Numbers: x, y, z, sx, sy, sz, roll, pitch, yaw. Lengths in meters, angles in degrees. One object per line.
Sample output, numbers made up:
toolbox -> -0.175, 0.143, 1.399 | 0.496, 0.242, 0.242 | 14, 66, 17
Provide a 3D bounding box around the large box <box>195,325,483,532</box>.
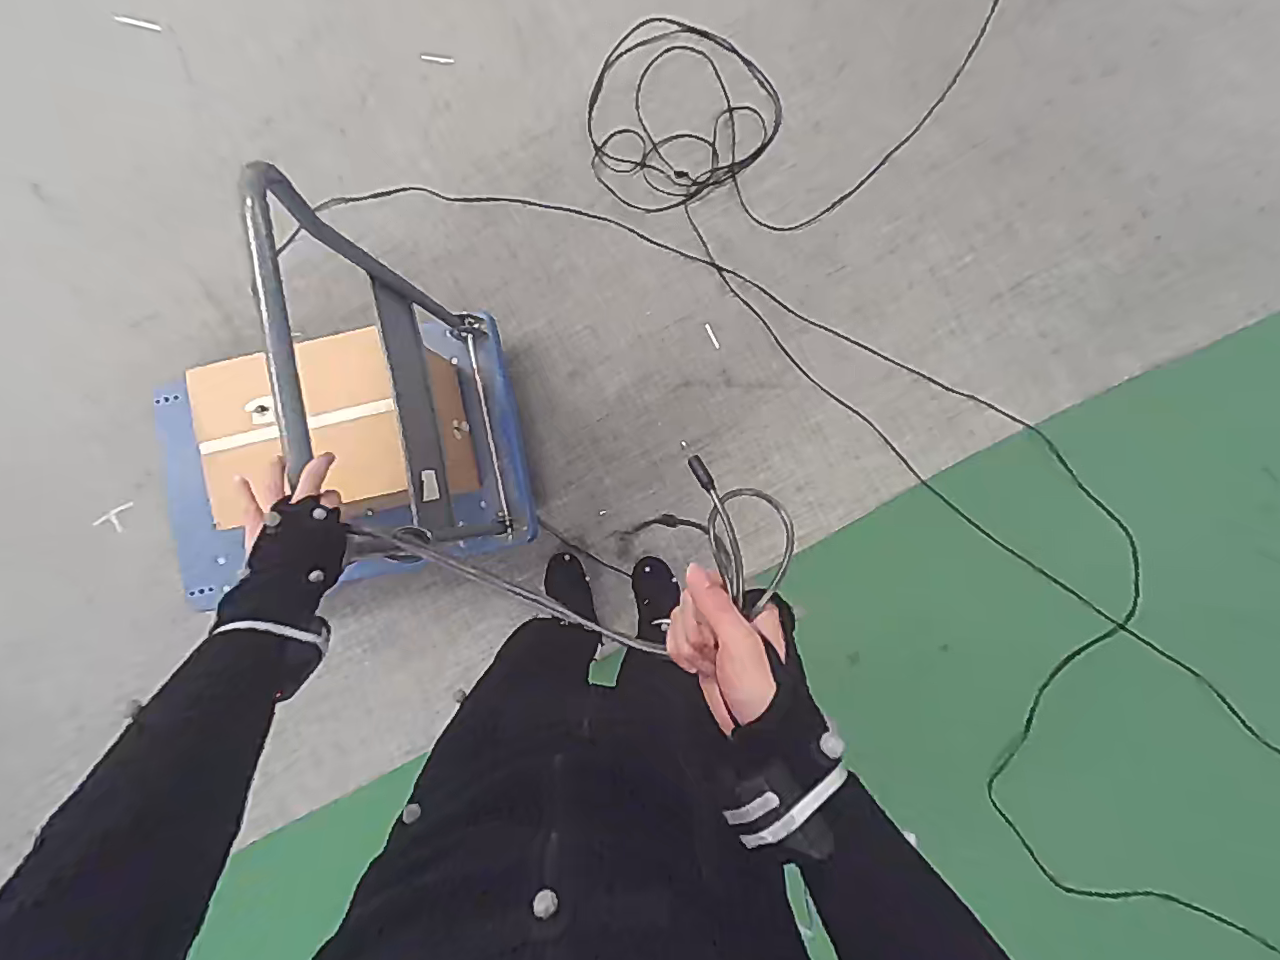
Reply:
large box -> -0.603, -0.094, 1.148 | 0.408, 0.320, 0.320 | -12, 87, 3
